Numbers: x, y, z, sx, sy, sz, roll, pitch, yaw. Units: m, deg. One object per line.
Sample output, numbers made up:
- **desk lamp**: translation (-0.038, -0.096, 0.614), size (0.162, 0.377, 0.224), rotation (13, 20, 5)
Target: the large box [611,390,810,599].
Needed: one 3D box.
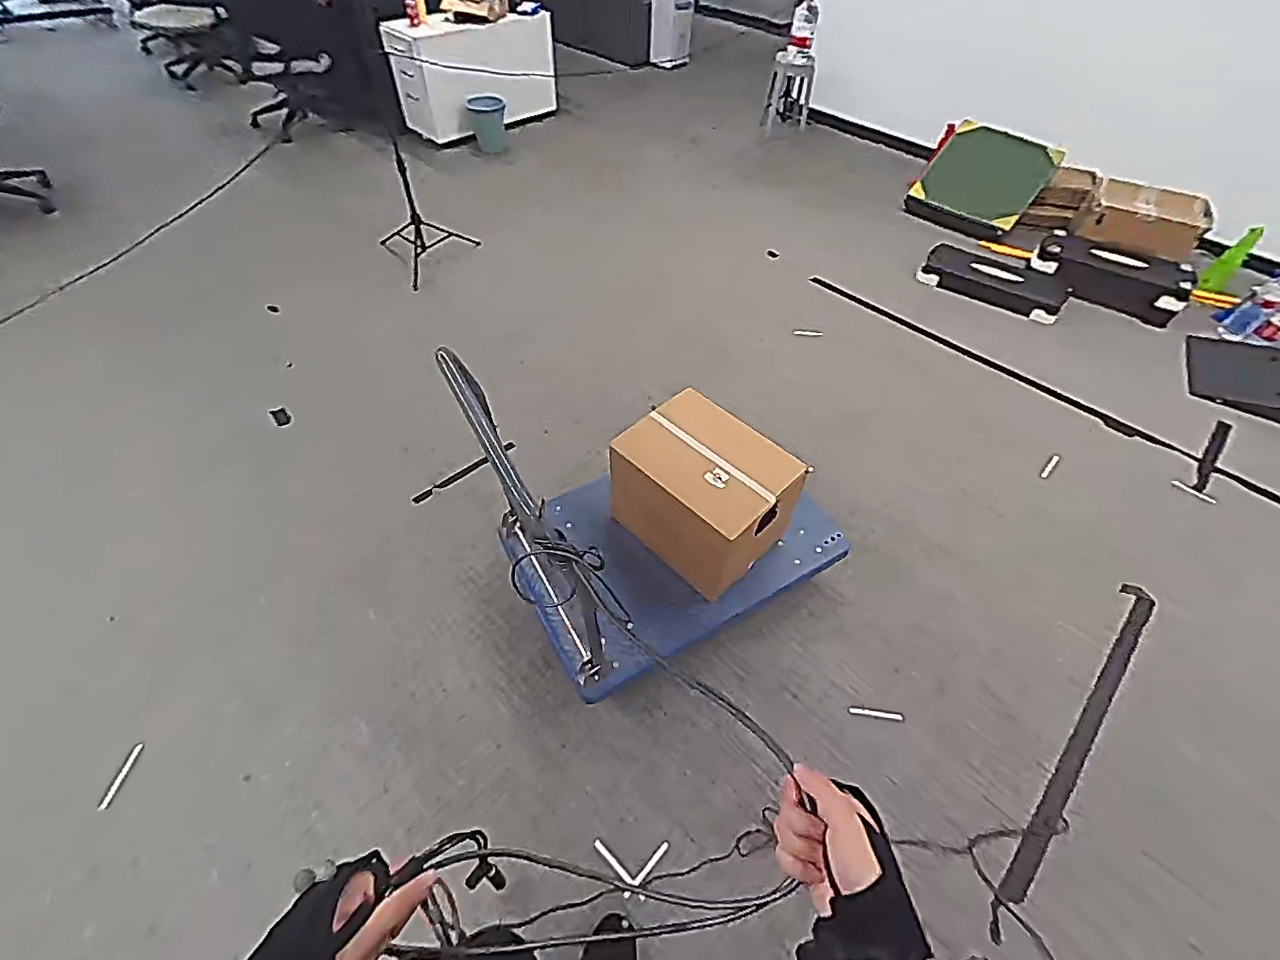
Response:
- **large box**: translation (0.165, 0.035, 1.451), size (0.320, 0.320, 0.408), rotation (-38, 63, -27)
